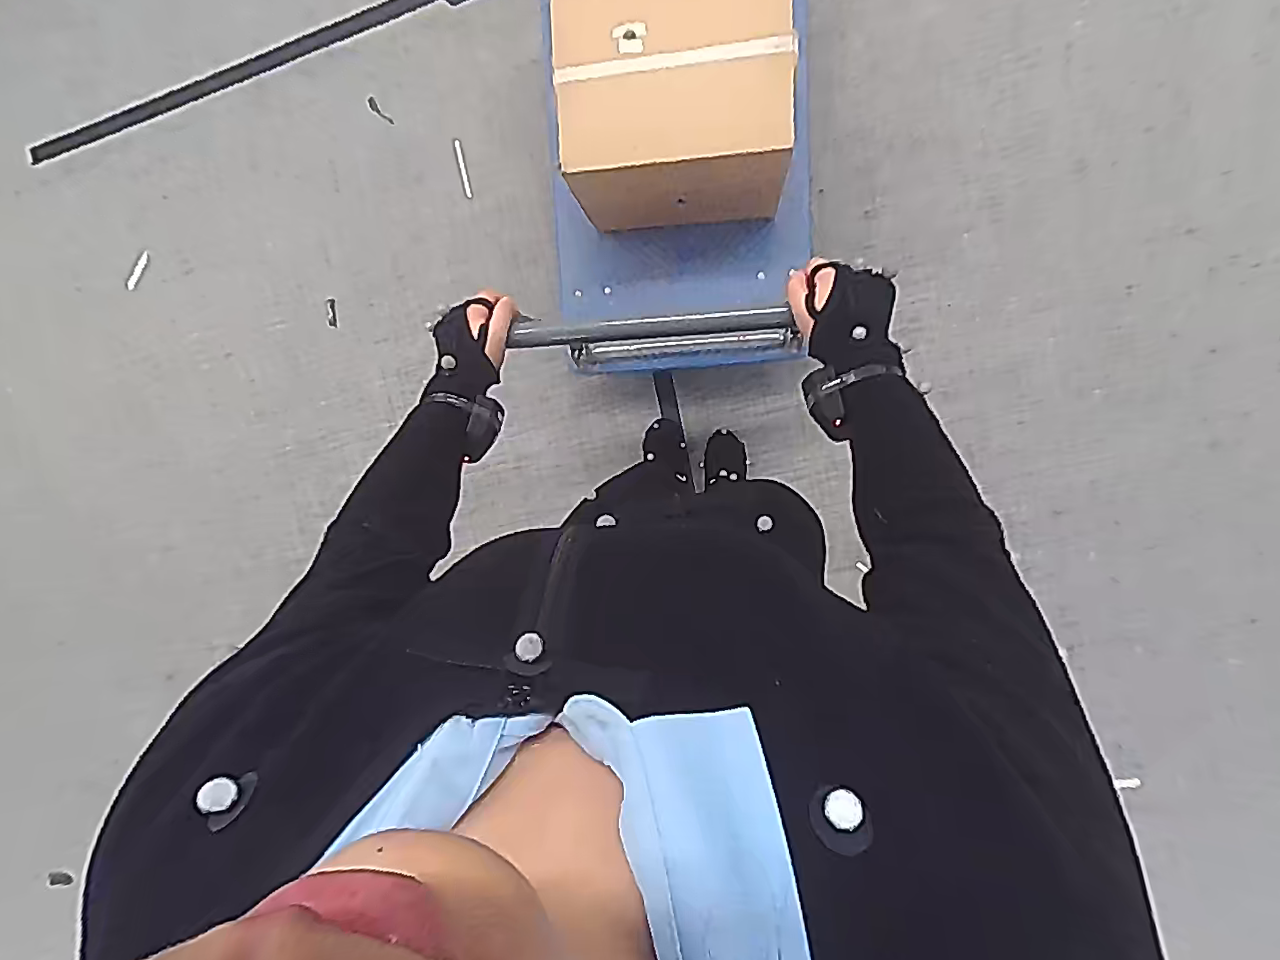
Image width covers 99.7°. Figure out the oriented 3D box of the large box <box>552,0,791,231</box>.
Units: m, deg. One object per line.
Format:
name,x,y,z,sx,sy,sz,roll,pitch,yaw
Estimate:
large box,0.074,-0.720,1.074,0.408,0.320,0.320,-2,95,9
